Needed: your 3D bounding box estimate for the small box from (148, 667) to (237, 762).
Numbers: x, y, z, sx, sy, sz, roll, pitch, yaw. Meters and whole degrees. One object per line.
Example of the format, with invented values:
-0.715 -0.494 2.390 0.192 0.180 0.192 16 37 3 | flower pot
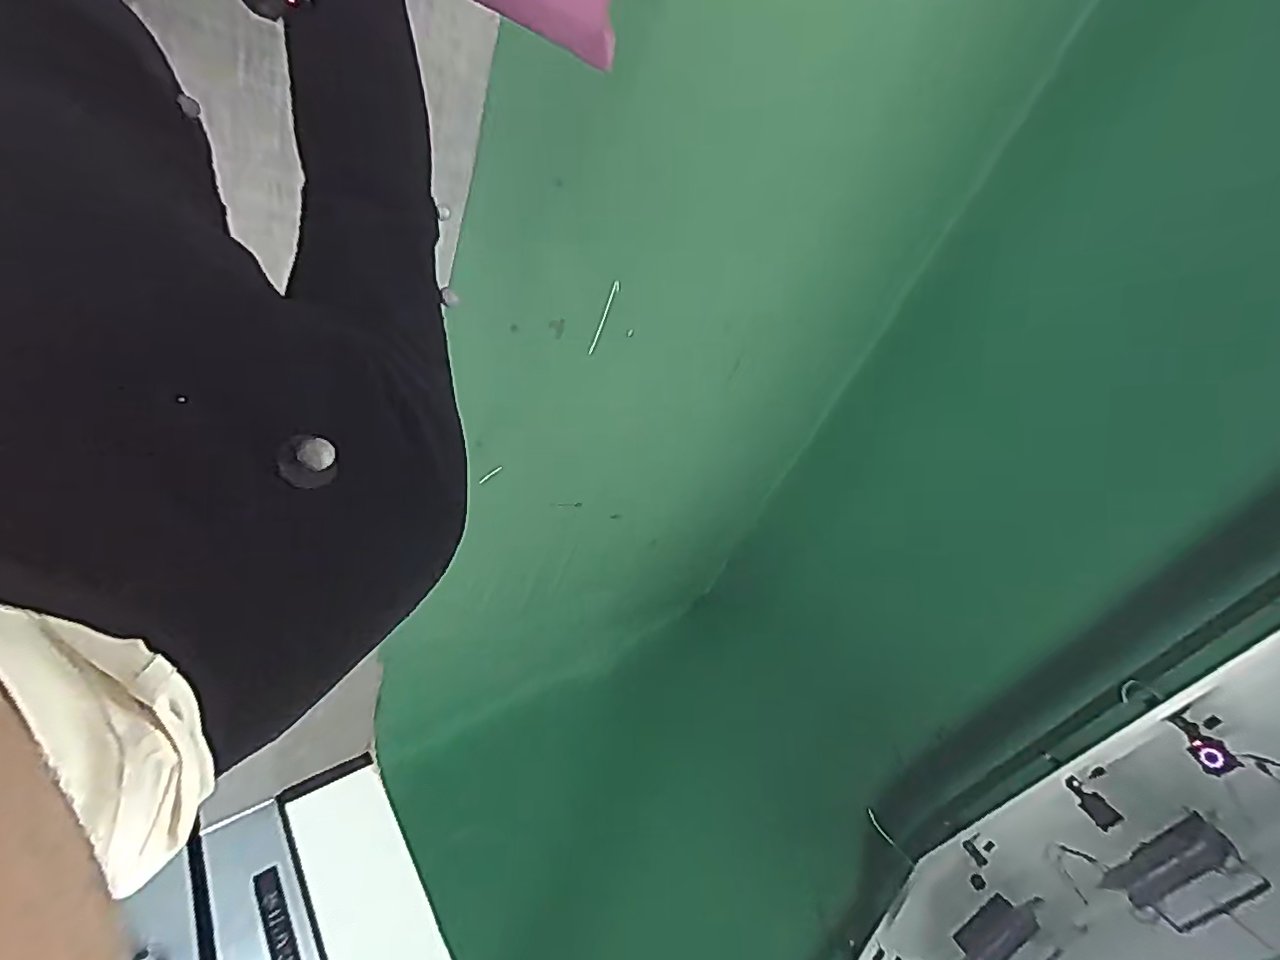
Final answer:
-1.335 0.689 1.610 0.179 0.176 0.168 -6 134 -48 | small box
